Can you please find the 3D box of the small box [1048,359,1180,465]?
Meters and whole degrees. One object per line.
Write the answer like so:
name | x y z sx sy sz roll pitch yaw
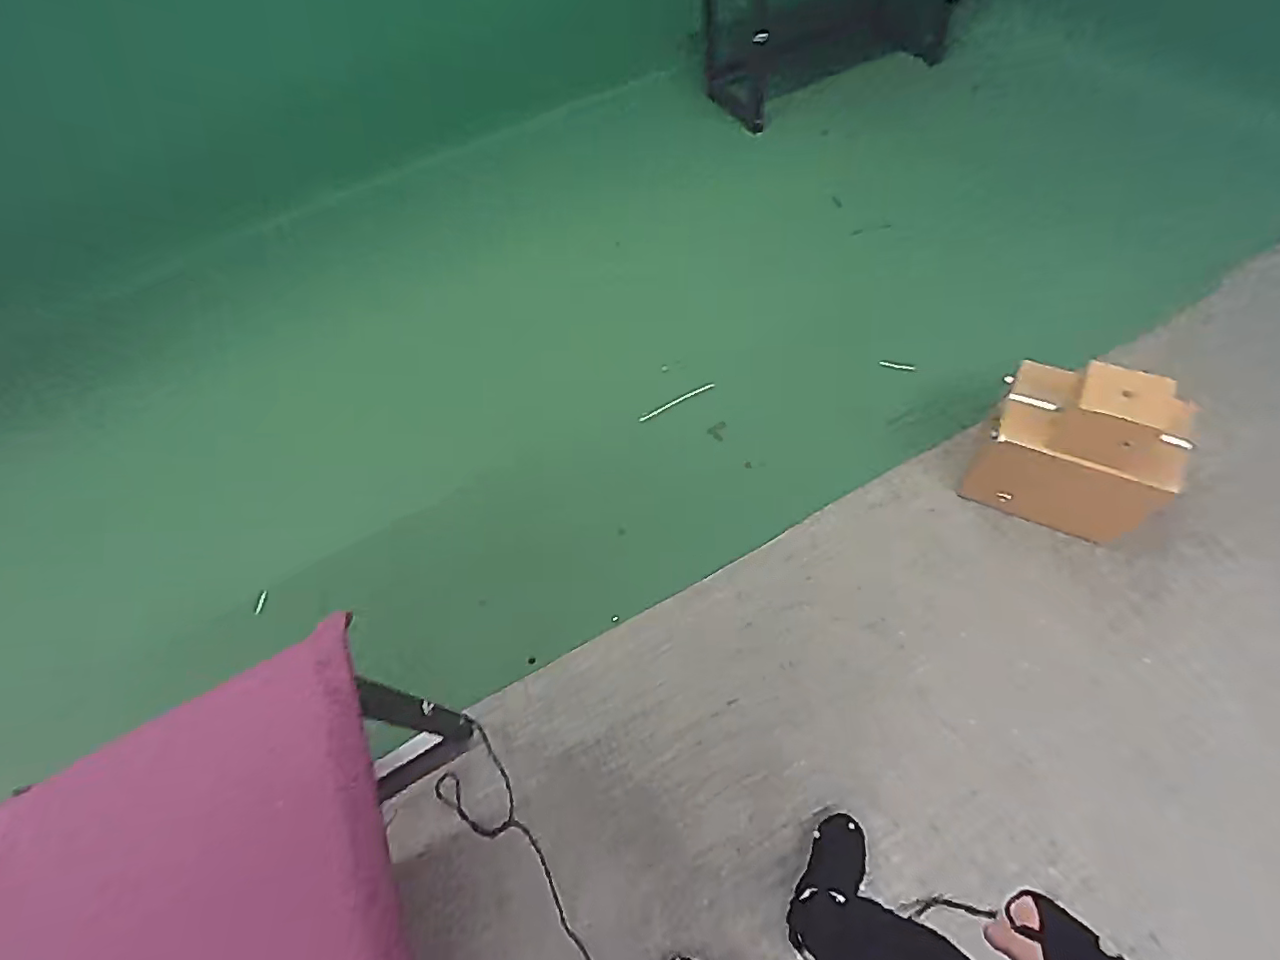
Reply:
small box | 1.150 -0.160 1.322 0.179 0.176 0.168 24 66 22
